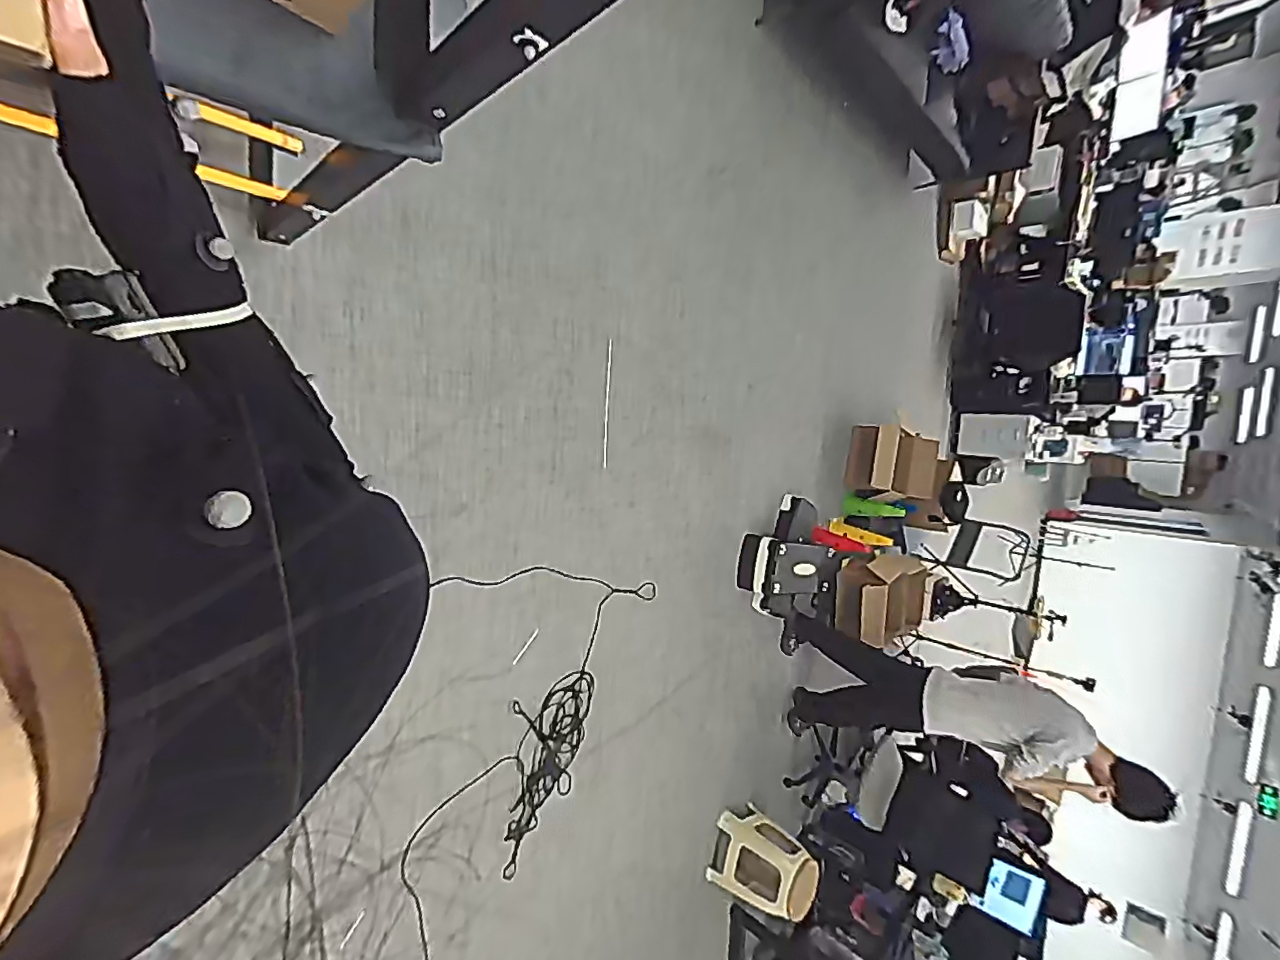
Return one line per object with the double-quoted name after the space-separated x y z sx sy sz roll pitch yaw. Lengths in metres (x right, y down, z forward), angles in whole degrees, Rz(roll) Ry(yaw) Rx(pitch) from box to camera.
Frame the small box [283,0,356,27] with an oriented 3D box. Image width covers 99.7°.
-0.365 -0.628 0.552 0.168 0.176 0.179 3 93 -47 "small box"
